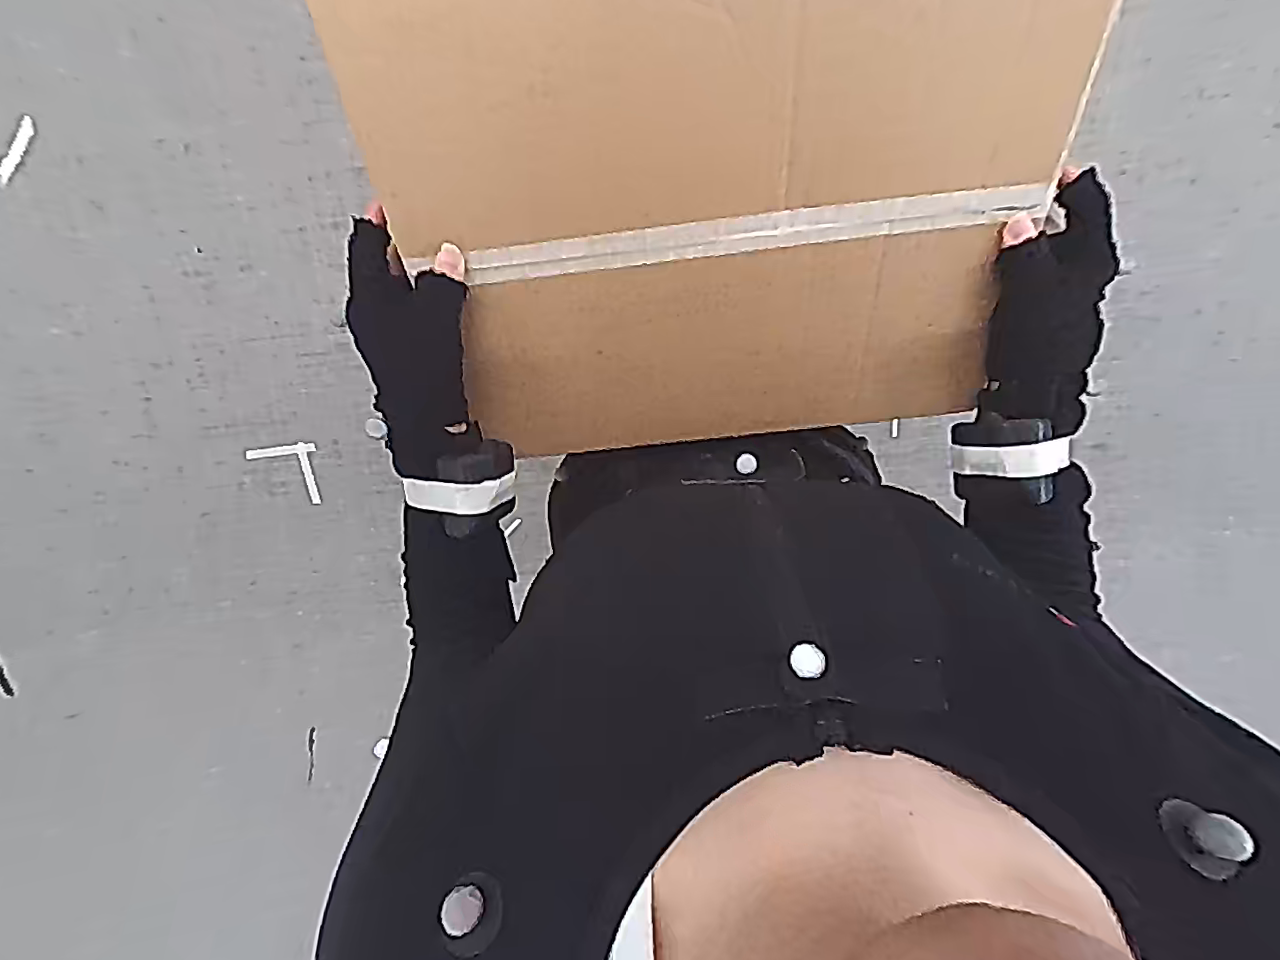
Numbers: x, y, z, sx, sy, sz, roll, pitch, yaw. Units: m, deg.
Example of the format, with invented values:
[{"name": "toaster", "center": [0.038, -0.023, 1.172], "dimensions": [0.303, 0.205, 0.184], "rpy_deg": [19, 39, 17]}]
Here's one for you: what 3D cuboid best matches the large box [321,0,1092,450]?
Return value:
[{"name": "large box", "center": [0.042, -0.257, 0.464], "dimensions": [0.408, 0.320, 0.320], "rpy_deg": [-6, 131, 1]}]
